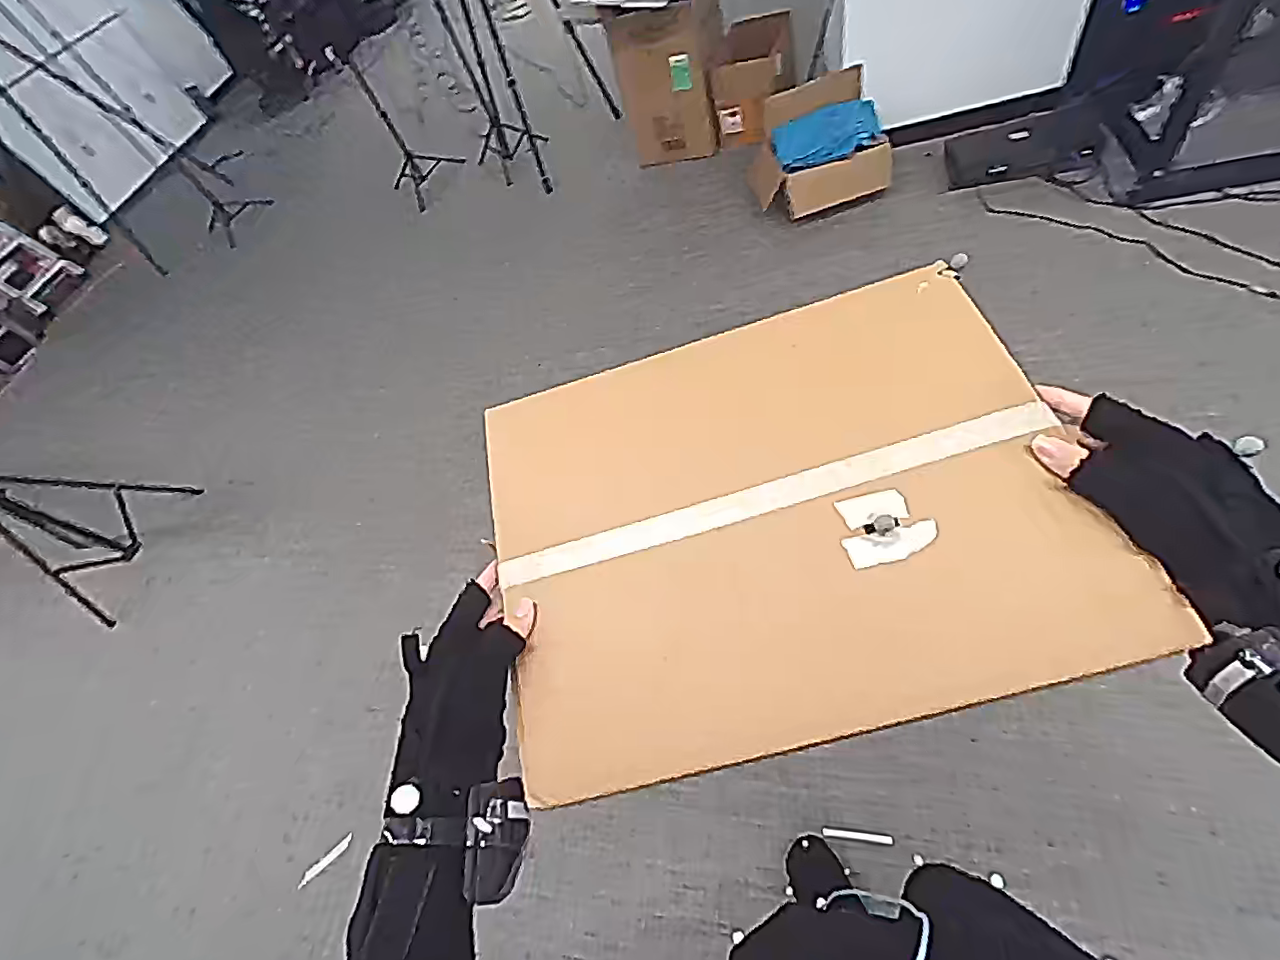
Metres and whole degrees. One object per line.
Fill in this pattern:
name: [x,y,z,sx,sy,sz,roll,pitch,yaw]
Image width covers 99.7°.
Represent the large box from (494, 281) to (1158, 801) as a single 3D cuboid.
large box: [0.118,0.083,0.536,0.408,0.320,0.320,-17,63,4]
